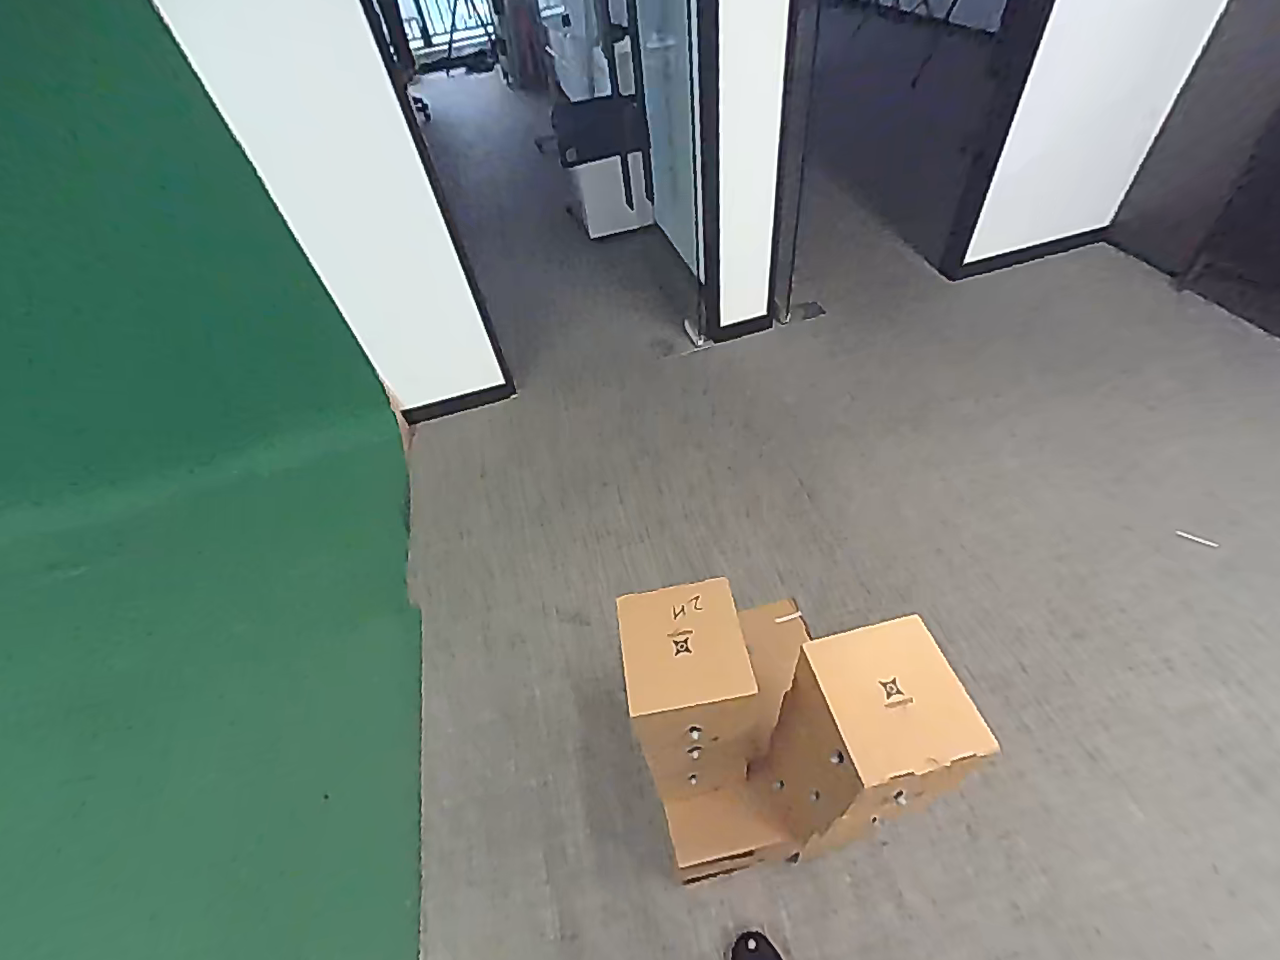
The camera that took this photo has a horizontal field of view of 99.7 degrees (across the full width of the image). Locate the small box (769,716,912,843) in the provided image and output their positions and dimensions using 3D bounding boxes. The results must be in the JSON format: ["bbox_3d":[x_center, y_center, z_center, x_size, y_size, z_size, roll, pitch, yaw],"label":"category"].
[{"bbox_3d":[0.343,0.521,0.967,0.179,0.176,0.168,-16,47,-4],"label":"small box"}]

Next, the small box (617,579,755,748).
[{"bbox_3d":[0.066,0.273,0.786,0.168,0.176,0.179,-10,47,0],"label":"small box"}]

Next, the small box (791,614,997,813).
[{"bbox_3d":[0.314,0.310,0.718,0.168,0.176,0.179,-14,48,-4],"label":"small box"}]

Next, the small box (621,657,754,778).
[{"bbox_3d":[0.083,0.376,0.911,0.179,0.176,0.168,-17,47,-2],"label":"small box"}]

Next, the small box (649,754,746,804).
[{"bbox_3d":[0.095,0.488,1.036,0.168,0.176,0.179,-14,47,-3],"label":"small box"}]
